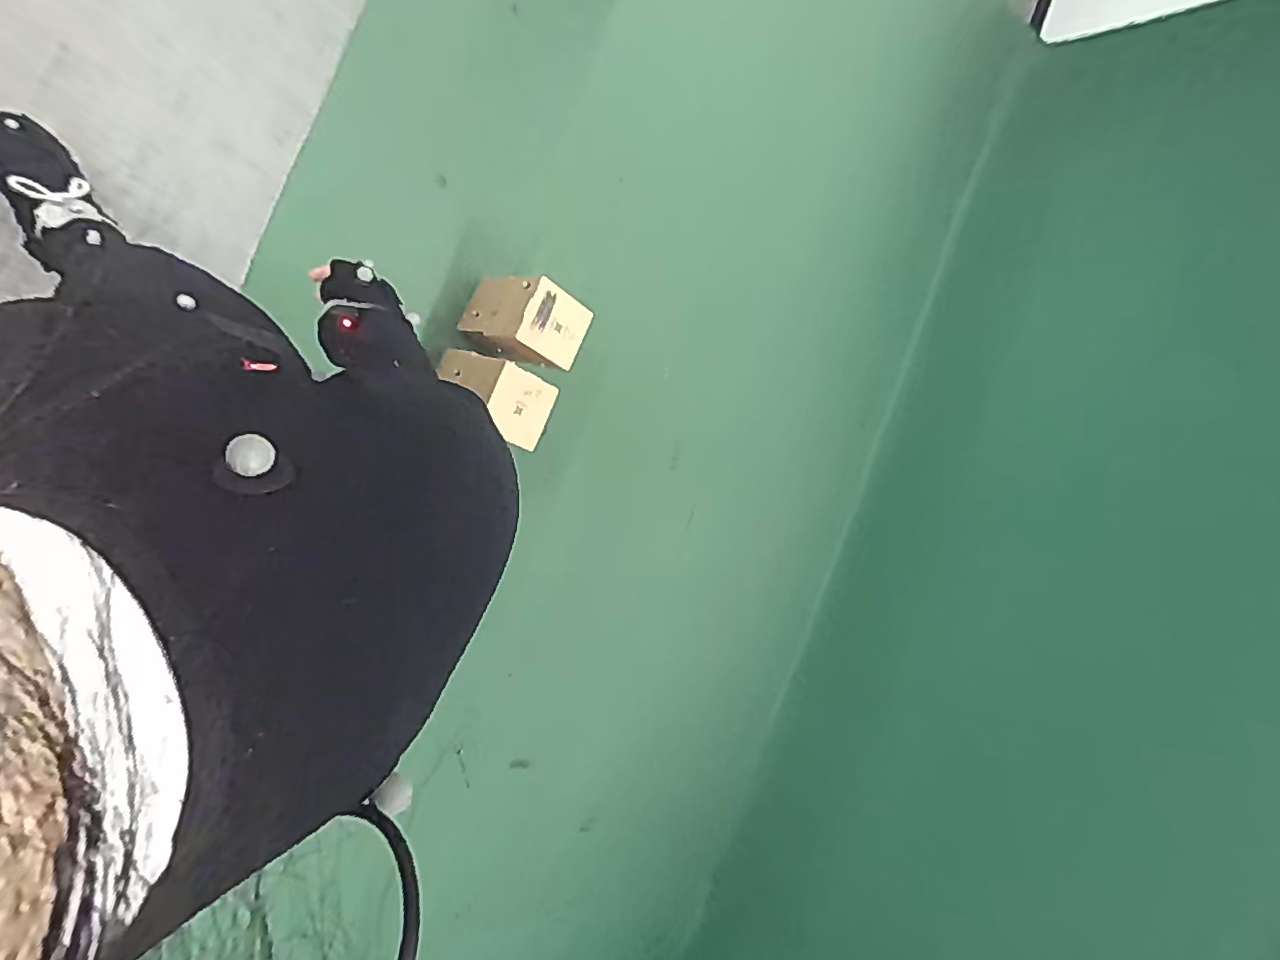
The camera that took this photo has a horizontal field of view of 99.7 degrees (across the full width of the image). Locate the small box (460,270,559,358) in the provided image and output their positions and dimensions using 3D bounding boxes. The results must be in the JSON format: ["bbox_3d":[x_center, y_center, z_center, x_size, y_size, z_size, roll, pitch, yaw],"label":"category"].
[{"bbox_3d":[-0.366,-0.455,1.497,0.179,0.176,0.168,30,83,-43],"label":"small box"}]
